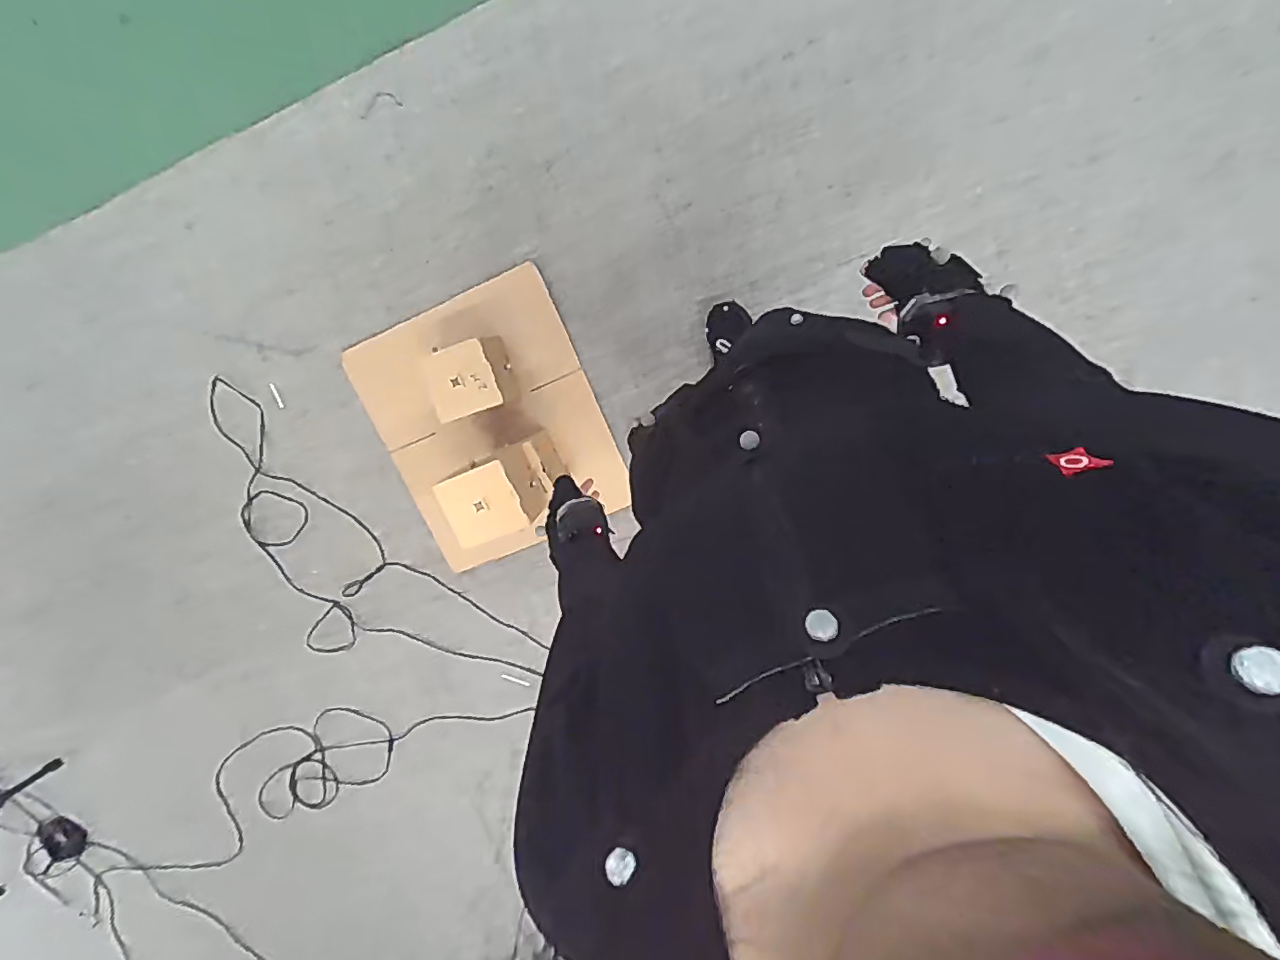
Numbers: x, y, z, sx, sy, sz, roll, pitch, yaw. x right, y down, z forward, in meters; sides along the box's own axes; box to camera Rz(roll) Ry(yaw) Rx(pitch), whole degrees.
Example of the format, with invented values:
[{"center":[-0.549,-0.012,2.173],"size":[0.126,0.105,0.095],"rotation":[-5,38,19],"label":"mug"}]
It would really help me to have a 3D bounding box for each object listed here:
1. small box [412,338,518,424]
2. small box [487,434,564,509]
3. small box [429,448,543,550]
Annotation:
[{"center":[-0.435,-0.253,1.371],"size":[0.179,0.176,0.168],"rotation":[-17,104,7],"label":"small box"},{"center":[-0.314,-0.007,1.424],"size":[0.179,0.176,0.168],"rotation":[-23,102,10],"label":"small box"},{"center":[-0.353,0.040,1.270],"size":[0.179,0.176,0.168],"rotation":[-21,102,9],"label":"small box"}]
